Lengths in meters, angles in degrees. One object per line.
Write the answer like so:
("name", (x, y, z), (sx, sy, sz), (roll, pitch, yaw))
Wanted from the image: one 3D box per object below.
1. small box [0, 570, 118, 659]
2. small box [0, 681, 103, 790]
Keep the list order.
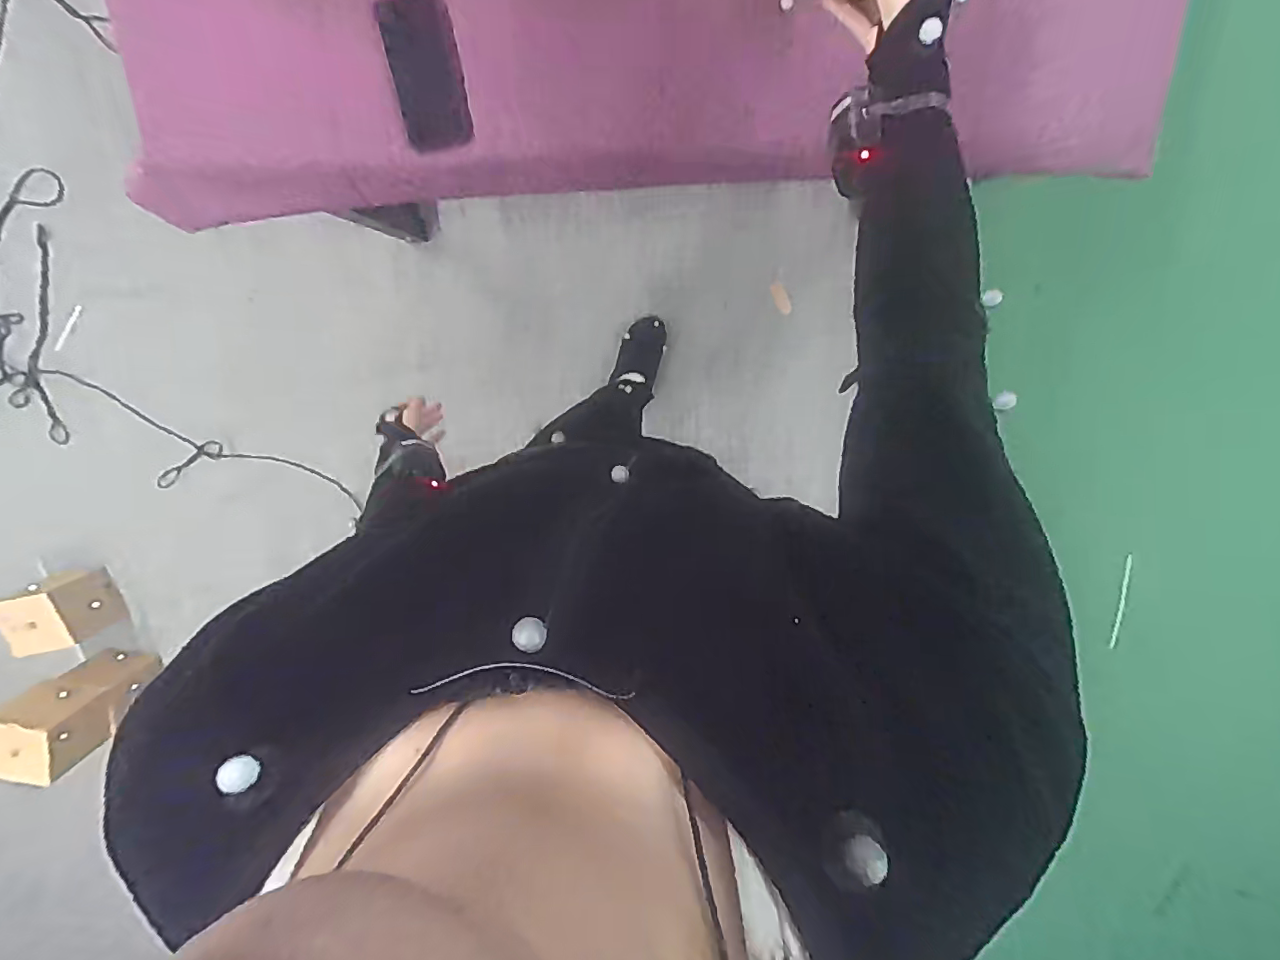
("small box", (-1.617, 0.366, 1.499), (0.179, 0.176, 0.168), (-11, 106, 2))
("small box", (-1.568, 0.665, 1.418), (0.168, 0.176, 0.179), (13, 104, -4))
